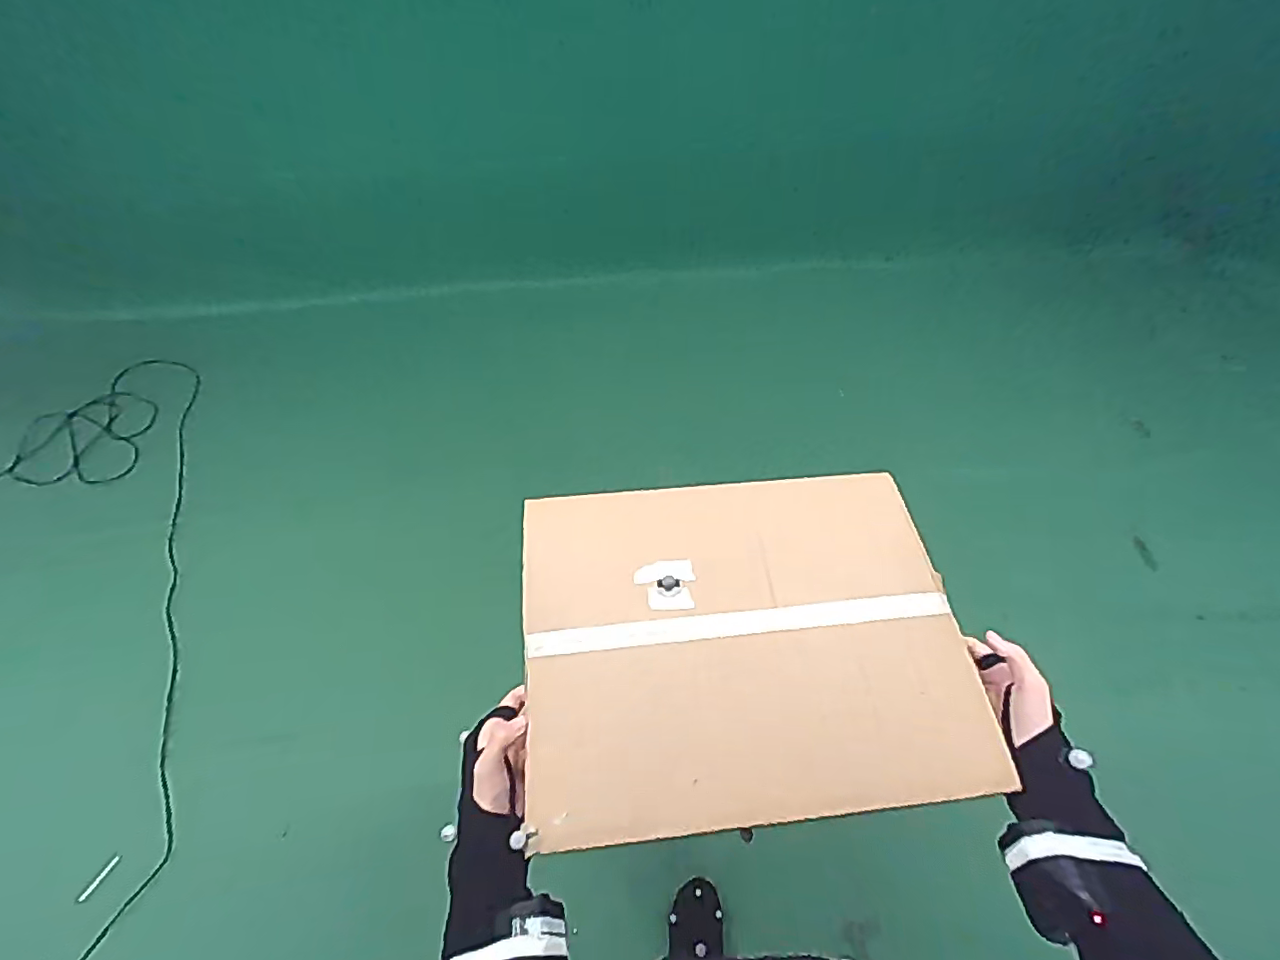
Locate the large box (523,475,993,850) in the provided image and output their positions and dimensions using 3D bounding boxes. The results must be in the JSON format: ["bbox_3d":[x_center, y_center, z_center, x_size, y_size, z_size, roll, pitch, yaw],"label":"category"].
[{"bbox_3d":[0.089,0.219,0.648,0.408,0.320,0.320,-5,59,-4],"label":"large box"}]
